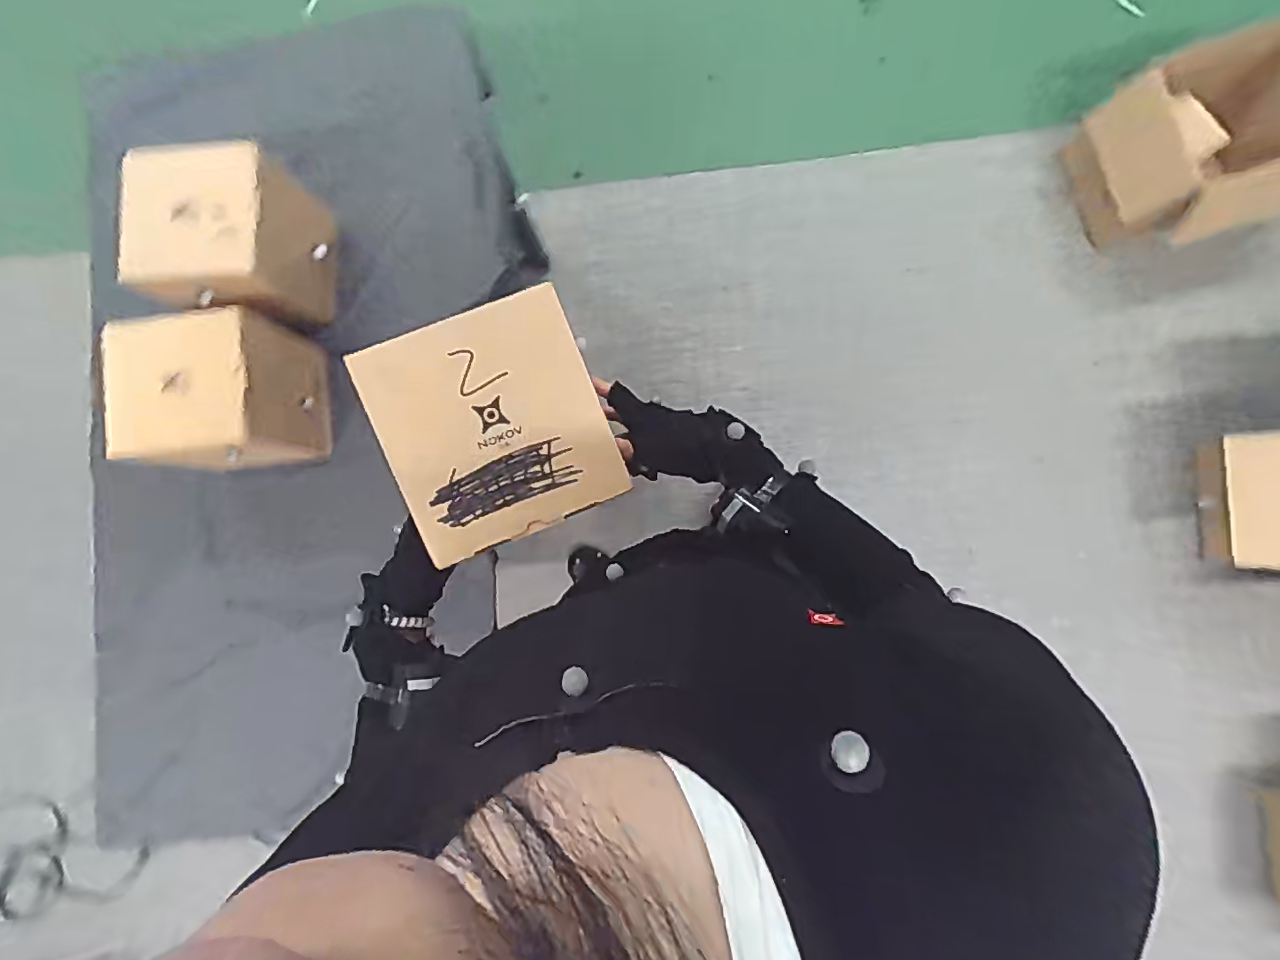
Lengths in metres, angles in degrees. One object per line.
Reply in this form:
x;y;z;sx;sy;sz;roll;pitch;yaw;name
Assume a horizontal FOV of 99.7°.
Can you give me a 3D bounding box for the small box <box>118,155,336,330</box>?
-0.559;-0.315;0.751;0.179;0.176;0.168;-2;87;3;small box
